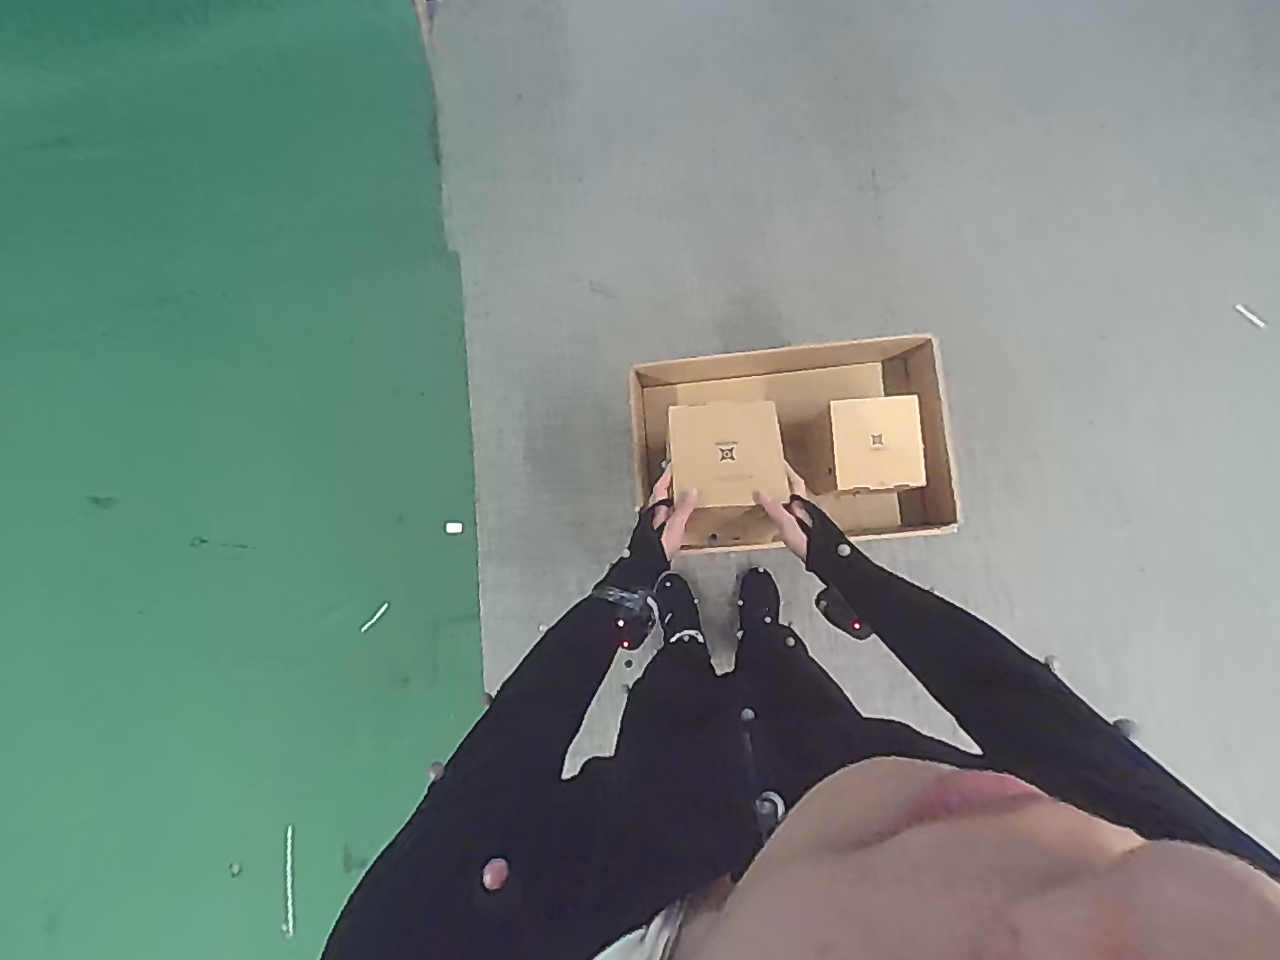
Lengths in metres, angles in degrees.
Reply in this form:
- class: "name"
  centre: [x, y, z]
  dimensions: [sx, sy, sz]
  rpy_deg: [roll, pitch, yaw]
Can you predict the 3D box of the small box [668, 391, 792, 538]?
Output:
- class: "small box"
  centre: [0.129, -0.020, 0.850]
  dimensions: [0.168, 0.176, 0.179]
  rpy_deg: [-2, 65, 2]
